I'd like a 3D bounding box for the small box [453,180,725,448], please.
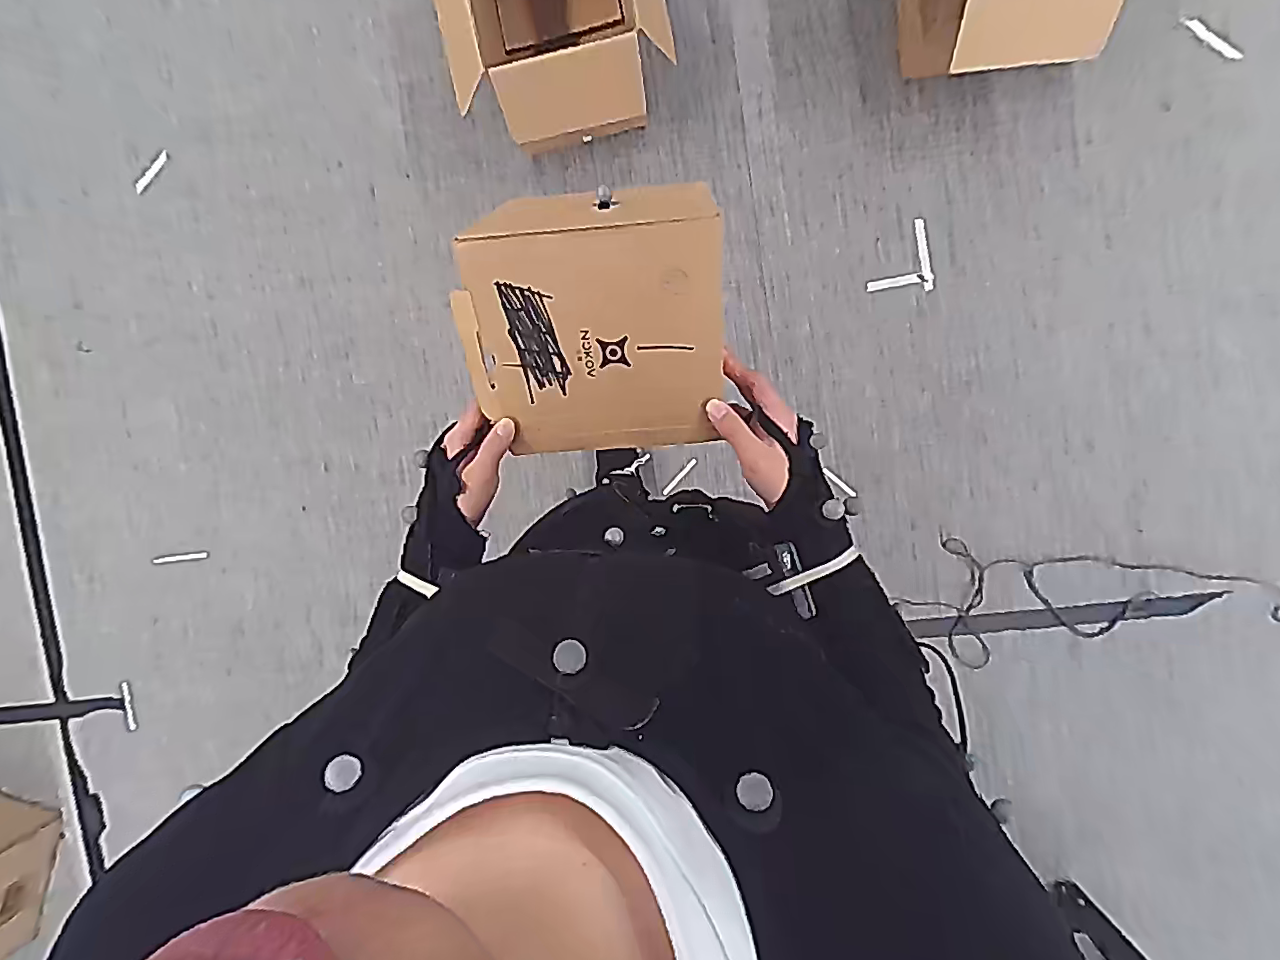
[{"bbox_3d":[-0.025,-0.142,0.447,0.179,0.176,0.168,-3,125,4],"label":"small box"}]
